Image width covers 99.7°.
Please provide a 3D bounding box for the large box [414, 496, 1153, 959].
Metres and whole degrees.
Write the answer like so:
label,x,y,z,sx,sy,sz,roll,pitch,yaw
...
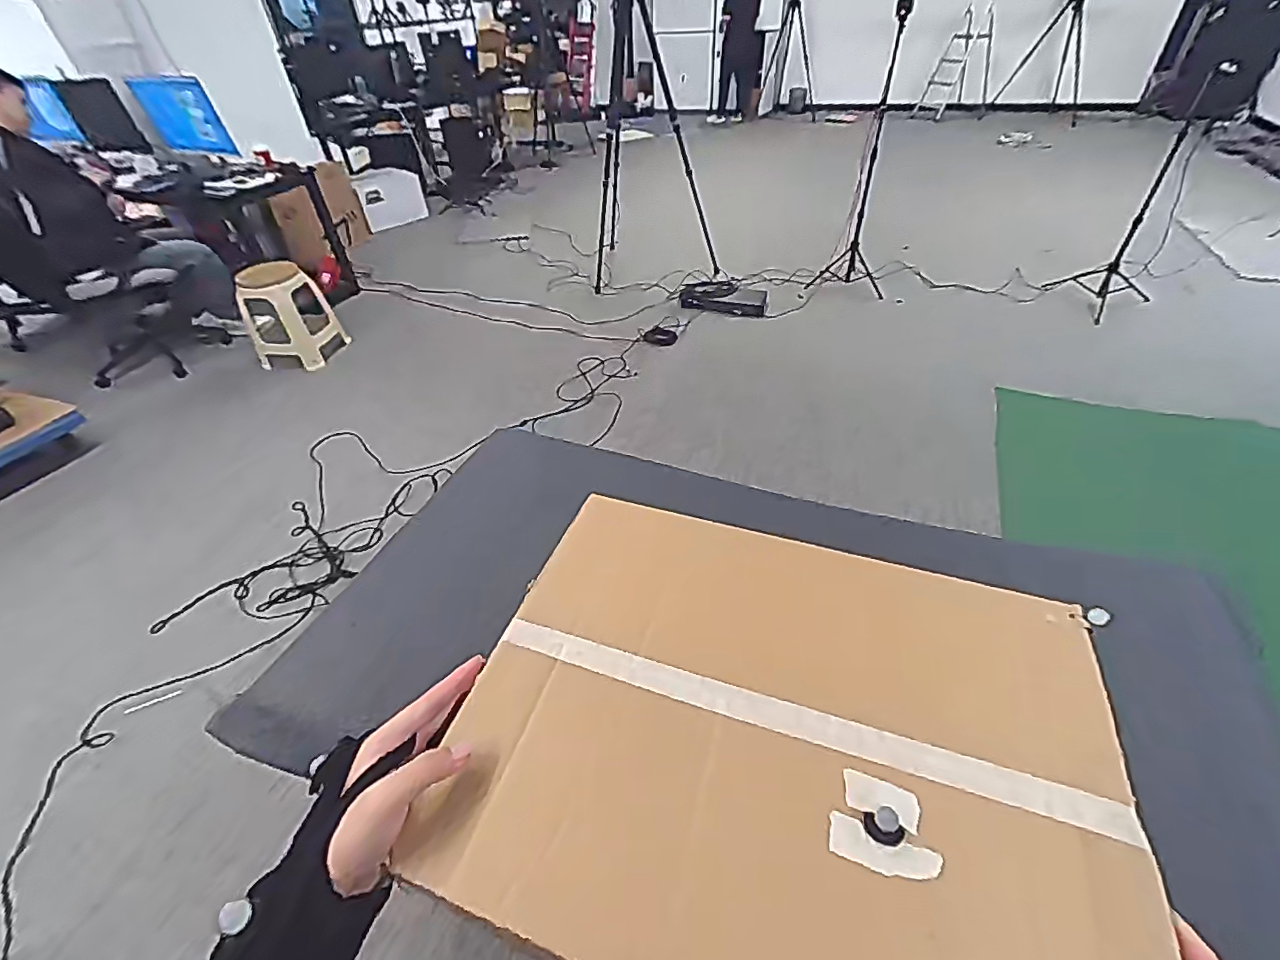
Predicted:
label,x,y,z,sx,sy,sz,roll,pitch,yaw
large box,0.100,0.261,0.477,0.408,0.320,0.320,13,46,15
